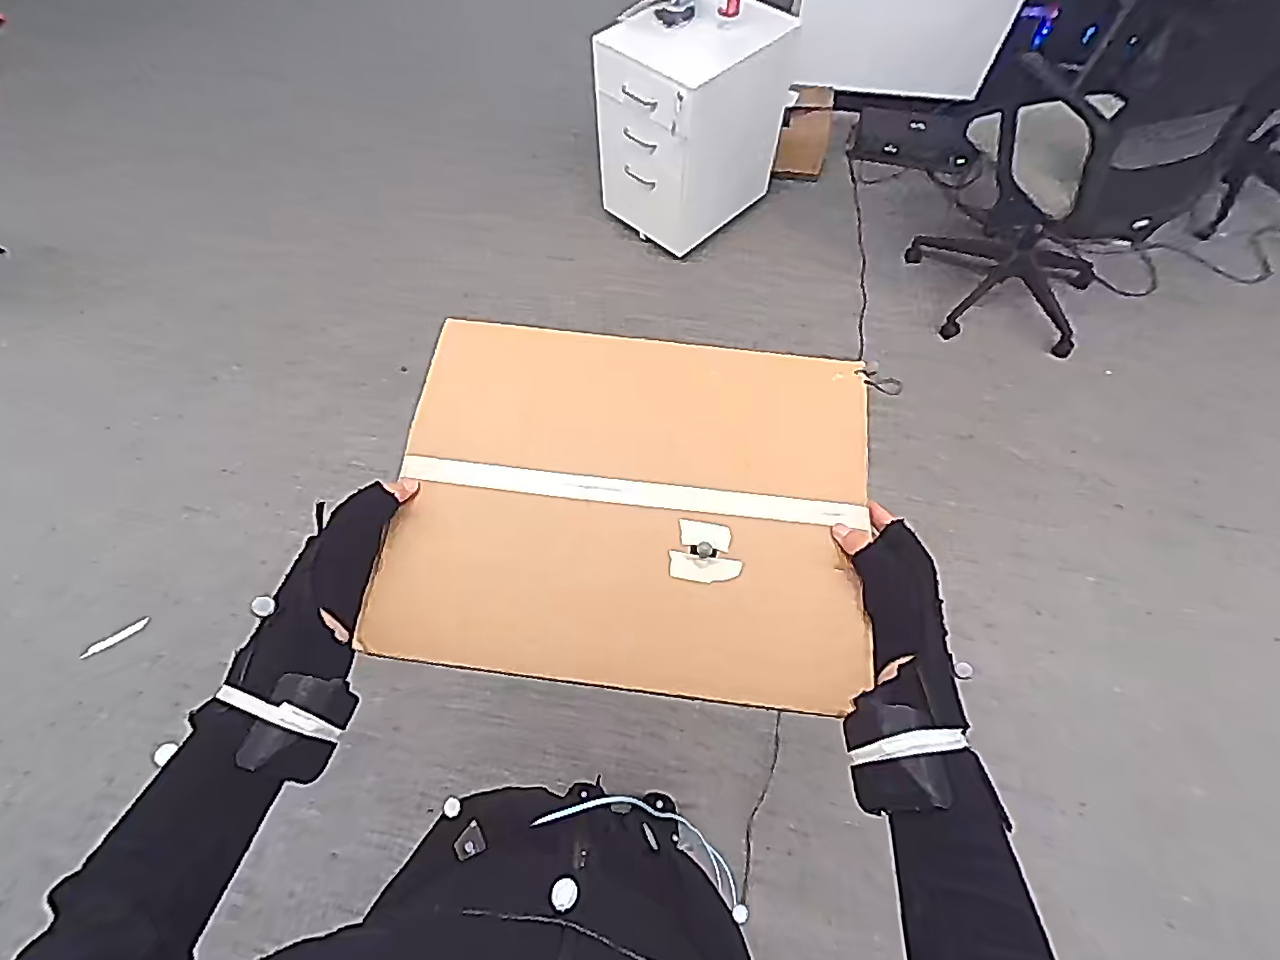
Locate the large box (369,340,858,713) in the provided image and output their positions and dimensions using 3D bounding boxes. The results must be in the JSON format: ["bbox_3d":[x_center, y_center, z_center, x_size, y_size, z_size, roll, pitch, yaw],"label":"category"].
[{"bbox_3d":[-0.011,0.072,0.621,0.408,0.320,0.320,7,71,2],"label":"large box"}]
